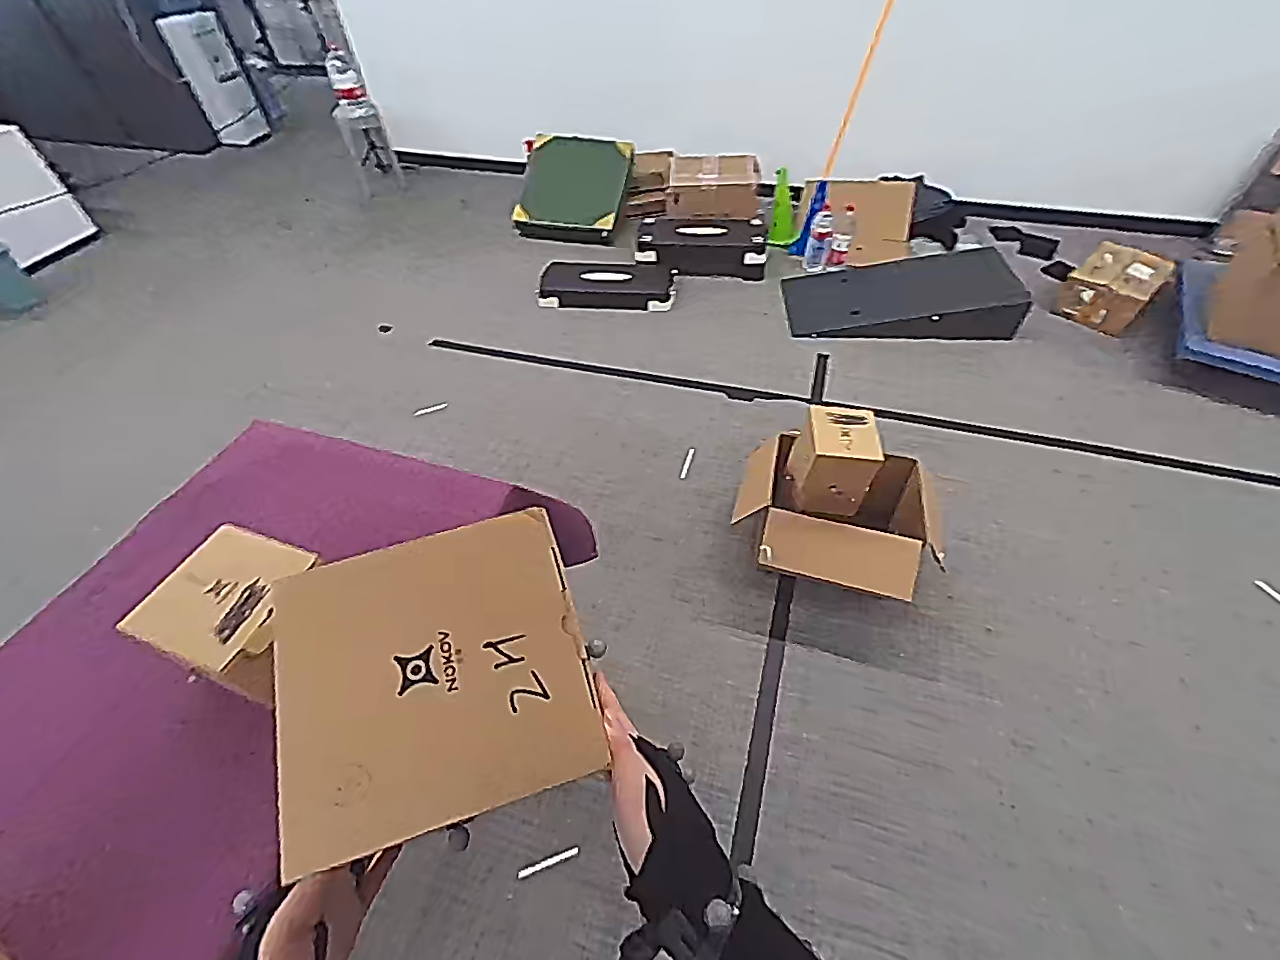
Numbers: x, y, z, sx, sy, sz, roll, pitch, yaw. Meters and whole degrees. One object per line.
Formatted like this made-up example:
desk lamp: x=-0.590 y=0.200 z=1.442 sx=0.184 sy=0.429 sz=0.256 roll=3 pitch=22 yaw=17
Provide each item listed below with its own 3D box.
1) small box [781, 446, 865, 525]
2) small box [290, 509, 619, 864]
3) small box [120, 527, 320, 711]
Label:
small box: x=0.521 y=0.020 z=1.575 sx=0.179 sy=0.176 sz=0.168 roll=-2 pitch=52 yaw=-4
small box: x=-0.118 y=0.145 z=0.393 sx=0.179 sy=0.176 sz=0.168 roll=-14 pitch=65 yaw=-9
small box: x=-0.523 y=0.195 z=0.744 sx=0.179 sy=0.176 sz=0.168 roll=14 pitch=52 yaw=15
